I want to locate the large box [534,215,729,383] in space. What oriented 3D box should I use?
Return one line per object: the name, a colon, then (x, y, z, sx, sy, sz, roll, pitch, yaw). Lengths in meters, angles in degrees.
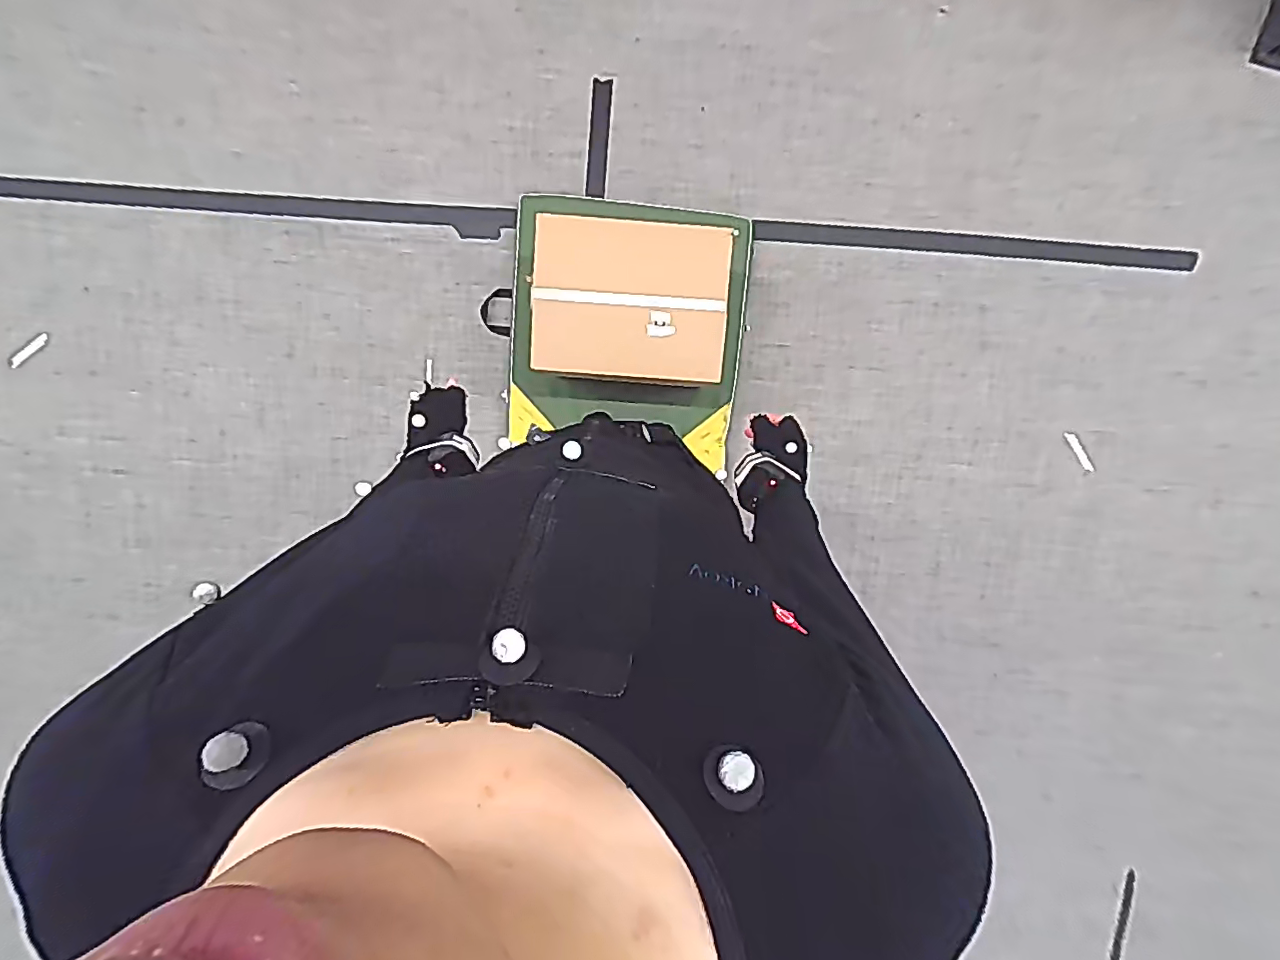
large box: (-0.025, -0.401, 1.278, 0.408, 0.320, 0.320, 3, 98, -2)
